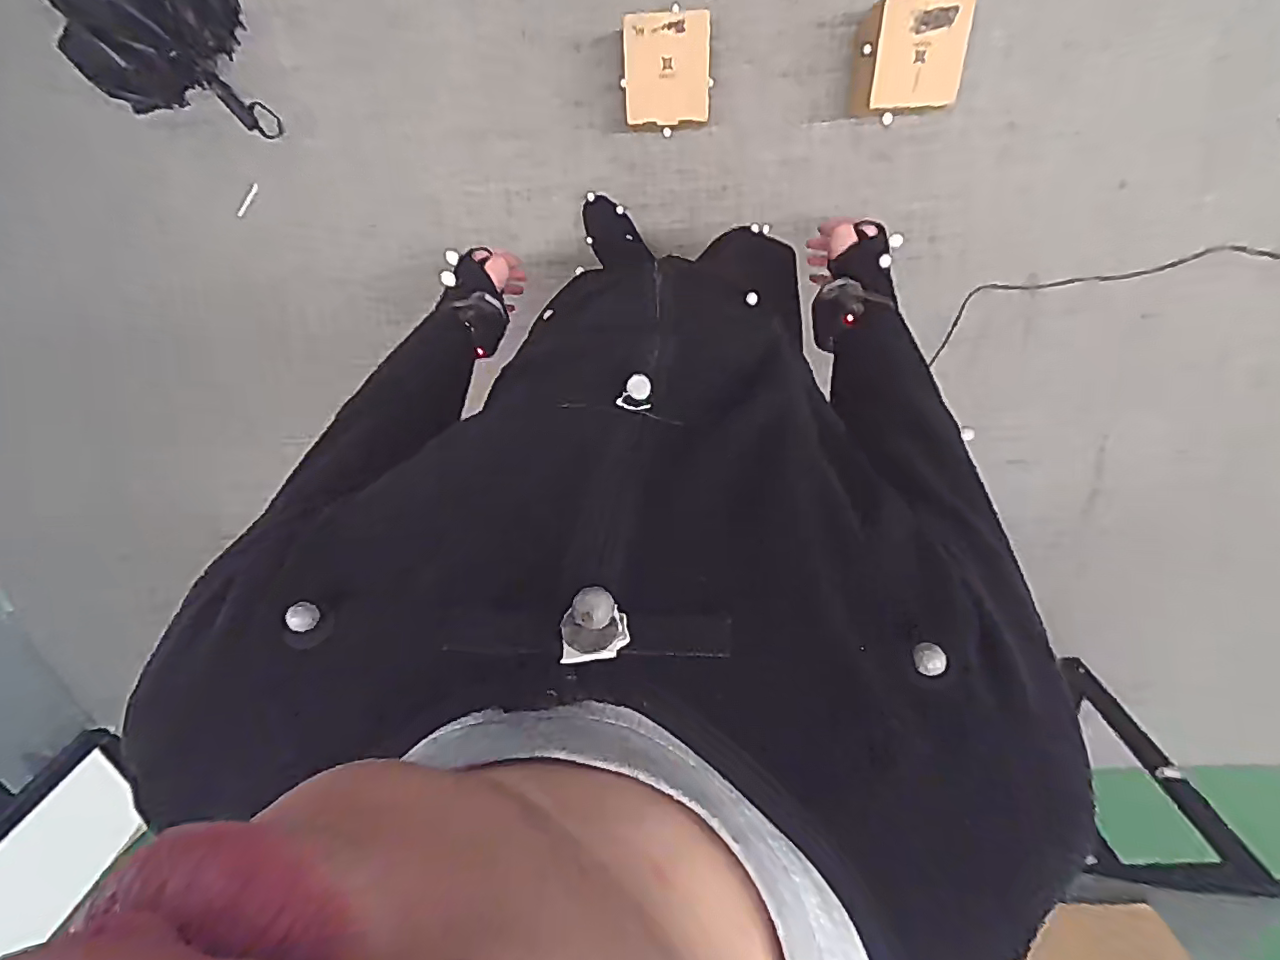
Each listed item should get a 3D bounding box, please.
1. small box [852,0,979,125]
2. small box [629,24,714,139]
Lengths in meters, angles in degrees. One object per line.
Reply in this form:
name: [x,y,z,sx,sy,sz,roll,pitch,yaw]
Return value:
small box: [0.544,-0.834,1.096,0.168,0.176,0.179,1,120,5]
small box: [0.069,-0.826,1.138,0.168,0.176,0.179,0,118,4]
